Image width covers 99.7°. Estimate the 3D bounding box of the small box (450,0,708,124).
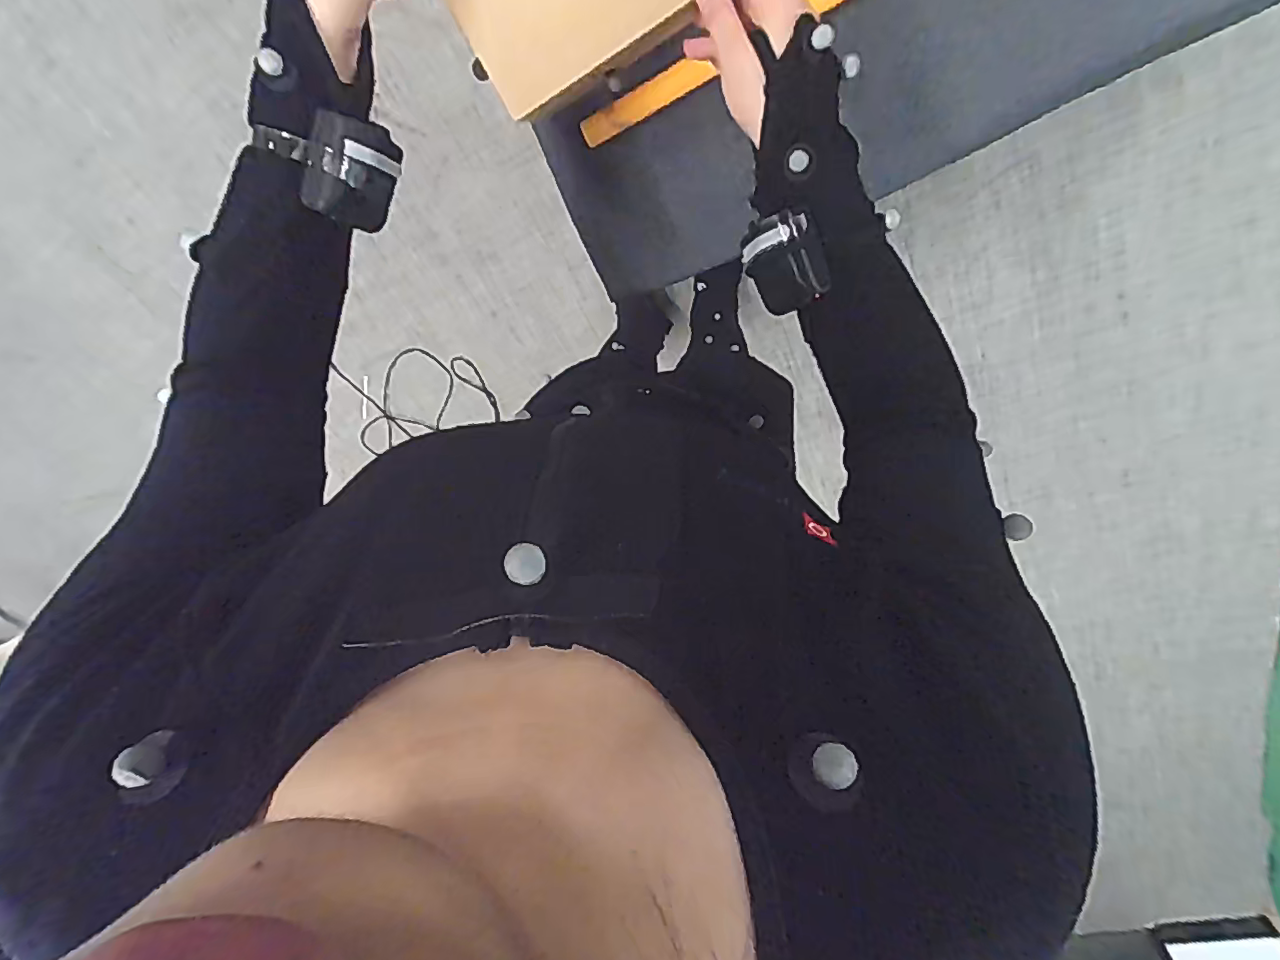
[{"bbox_3d":[-0.058,-0.409,0.411,0.168,0.176,0.179,-22,121,16],"label":"small box"}]
